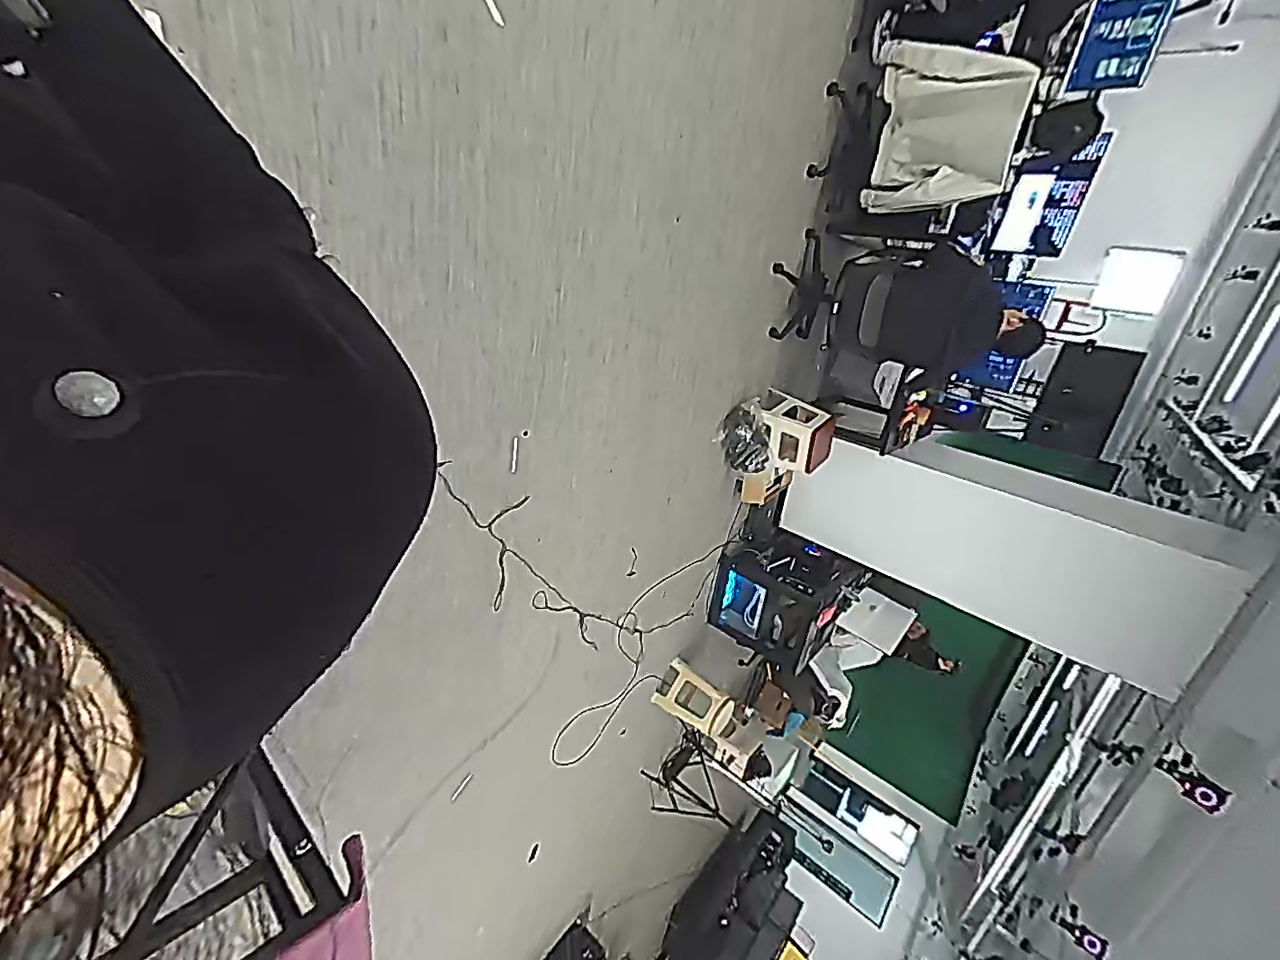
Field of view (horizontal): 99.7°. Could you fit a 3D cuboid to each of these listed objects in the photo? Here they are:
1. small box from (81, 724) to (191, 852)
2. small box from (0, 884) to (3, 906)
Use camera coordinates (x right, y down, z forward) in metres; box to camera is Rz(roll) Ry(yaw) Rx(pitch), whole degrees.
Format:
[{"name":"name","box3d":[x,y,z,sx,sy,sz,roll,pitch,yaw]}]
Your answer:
[{"name":"small box","box3d":[-1.239,0.747,1.332,0.168,0.176,0.179,-14,123,-49]},{"name":"small box","box3d":[-1.439,0.801,1.092,0.168,0.176,0.179,-18,123,-48]}]
